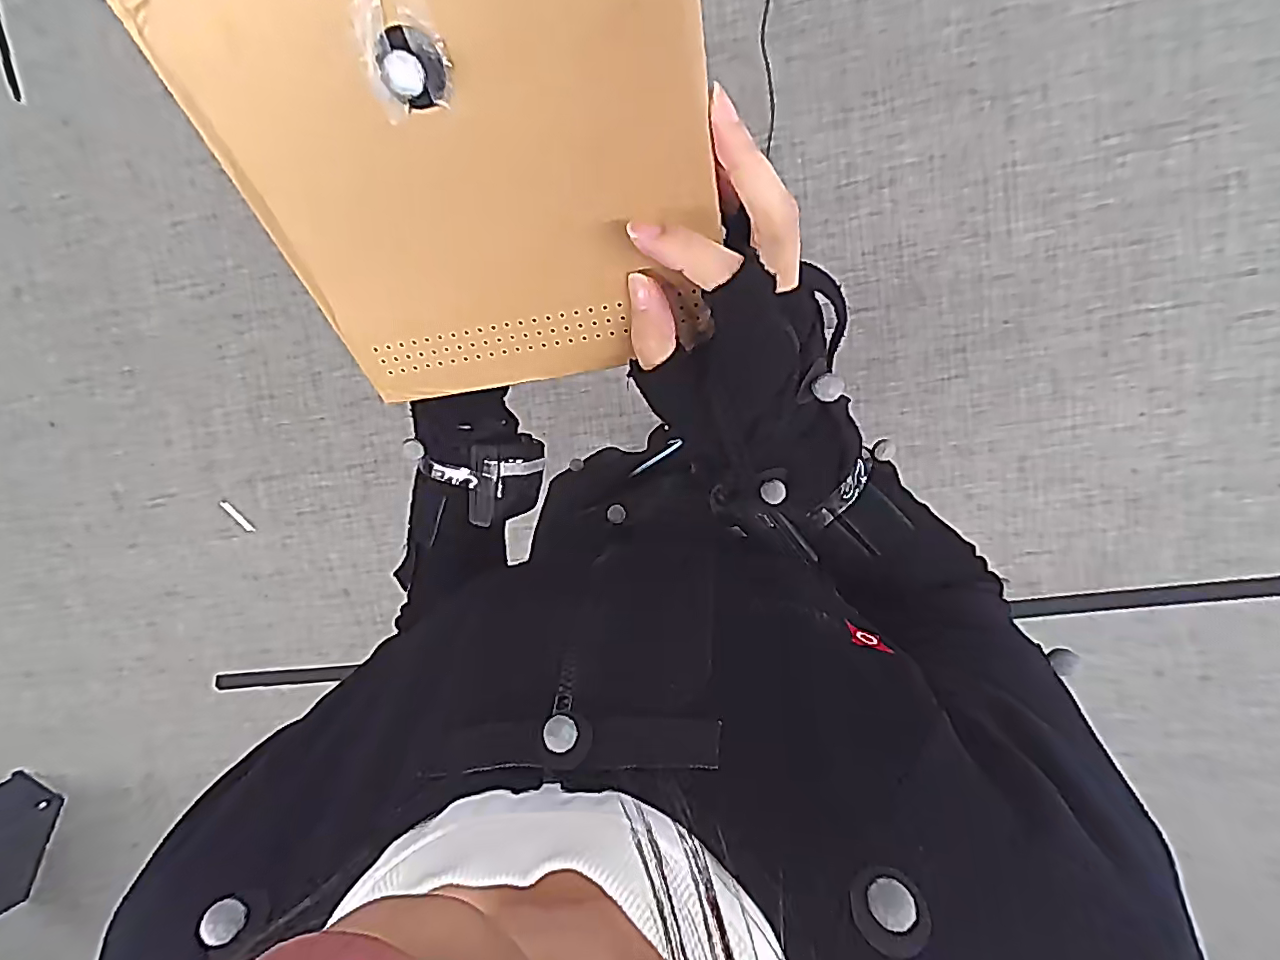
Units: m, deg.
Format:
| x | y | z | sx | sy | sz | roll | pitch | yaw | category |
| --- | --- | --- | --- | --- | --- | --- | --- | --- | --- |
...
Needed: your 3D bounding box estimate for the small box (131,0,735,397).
| x | y | z | sx | sy | sz | roll | pitch | yaw | category |
| --- | --- | --- | --- | --- | --- | --- | --- | --- | --- |
| -0.054 | -0.157 | 0.262 | 0.179 | 0.168 | 0.176 | -7 | 137 | 9 | small box |
